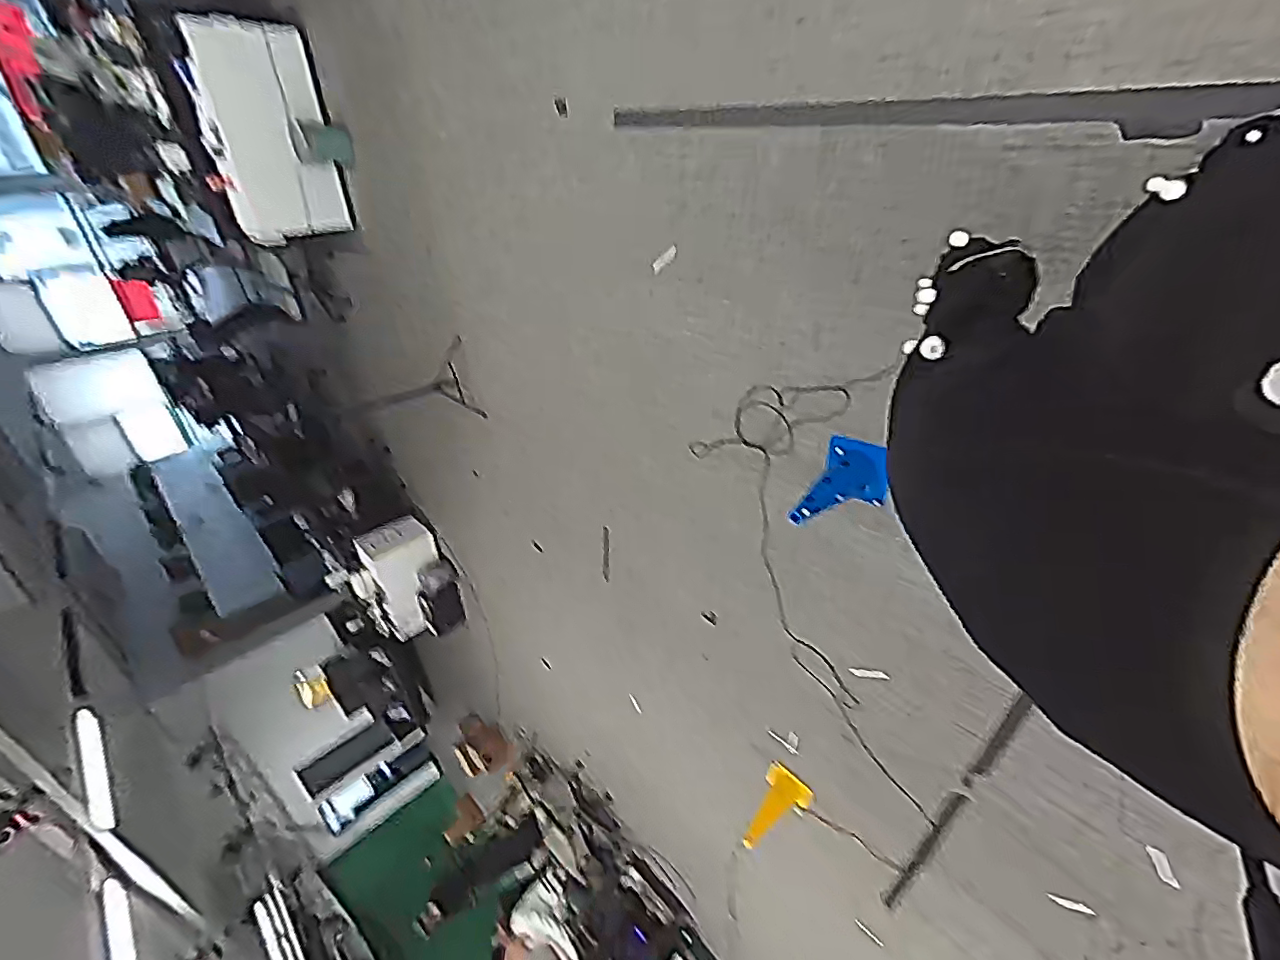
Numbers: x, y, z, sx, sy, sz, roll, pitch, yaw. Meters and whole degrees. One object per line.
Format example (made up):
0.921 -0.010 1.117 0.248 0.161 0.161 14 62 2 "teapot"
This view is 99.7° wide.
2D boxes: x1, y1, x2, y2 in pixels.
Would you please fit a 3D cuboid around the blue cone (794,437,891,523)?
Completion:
0.555 0.028 1.574 0.192 0.380 0.193 24 130 39 "blue cone"
